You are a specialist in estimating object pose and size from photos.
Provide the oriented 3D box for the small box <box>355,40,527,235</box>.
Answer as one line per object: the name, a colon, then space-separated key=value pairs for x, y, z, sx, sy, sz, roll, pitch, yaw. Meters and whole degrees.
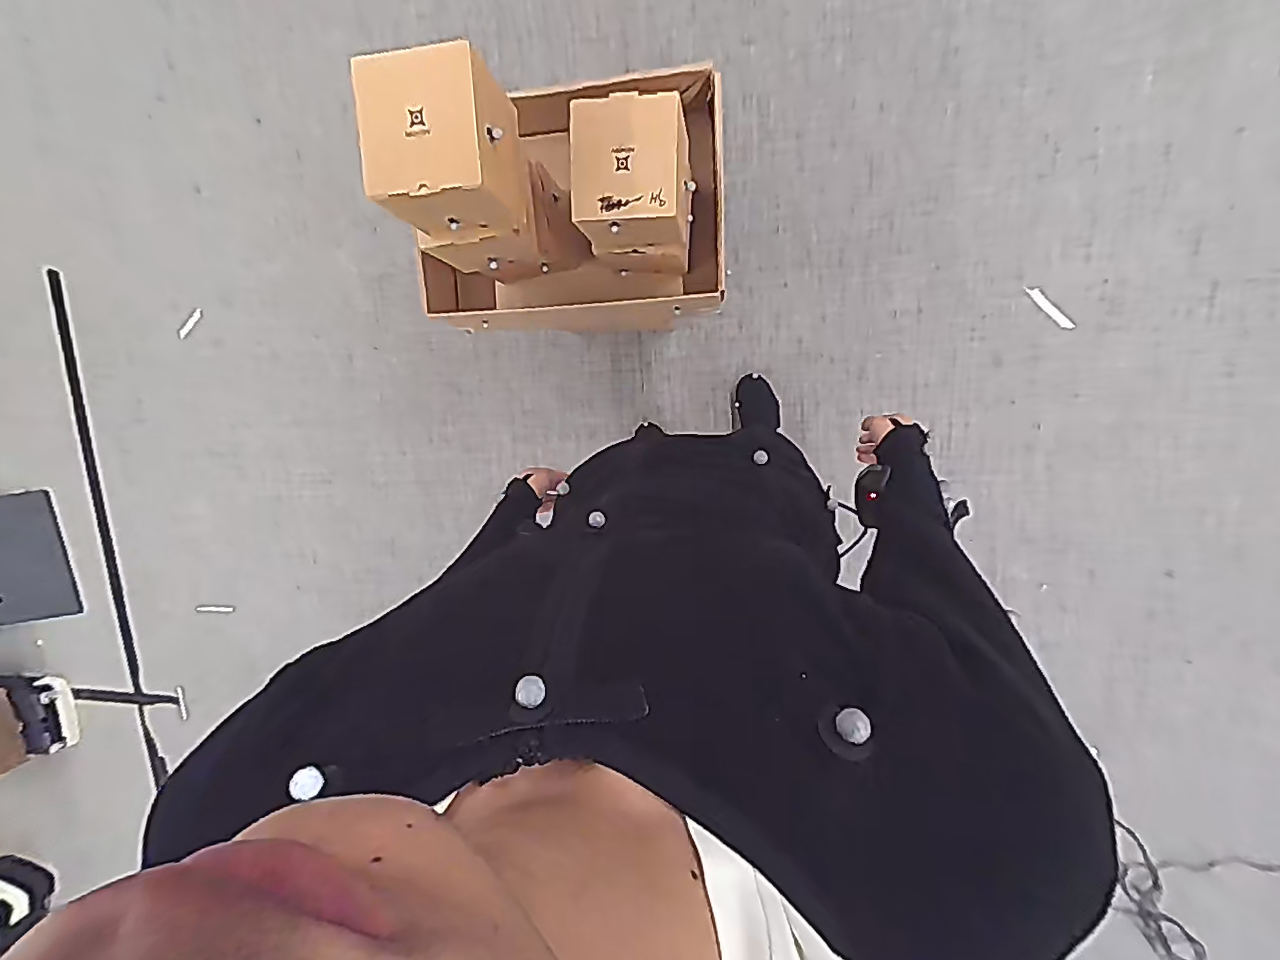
small box: x=-0.271 y=-0.473 z=0.774 sx=0.168 sy=0.176 sz=0.179 roll=-3 pitch=99 yaw=8

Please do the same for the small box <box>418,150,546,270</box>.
small box: x=-0.274 y=-0.484 z=0.939 sx=0.168 sy=0.176 sz=0.179 roll=-6 pitch=99 yaw=9

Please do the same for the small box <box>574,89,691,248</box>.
small box: x=-0.006 y=-0.497 z=0.887 sx=0.168 sy=0.176 sz=0.179 roll=2 pitch=99 yaw=10
